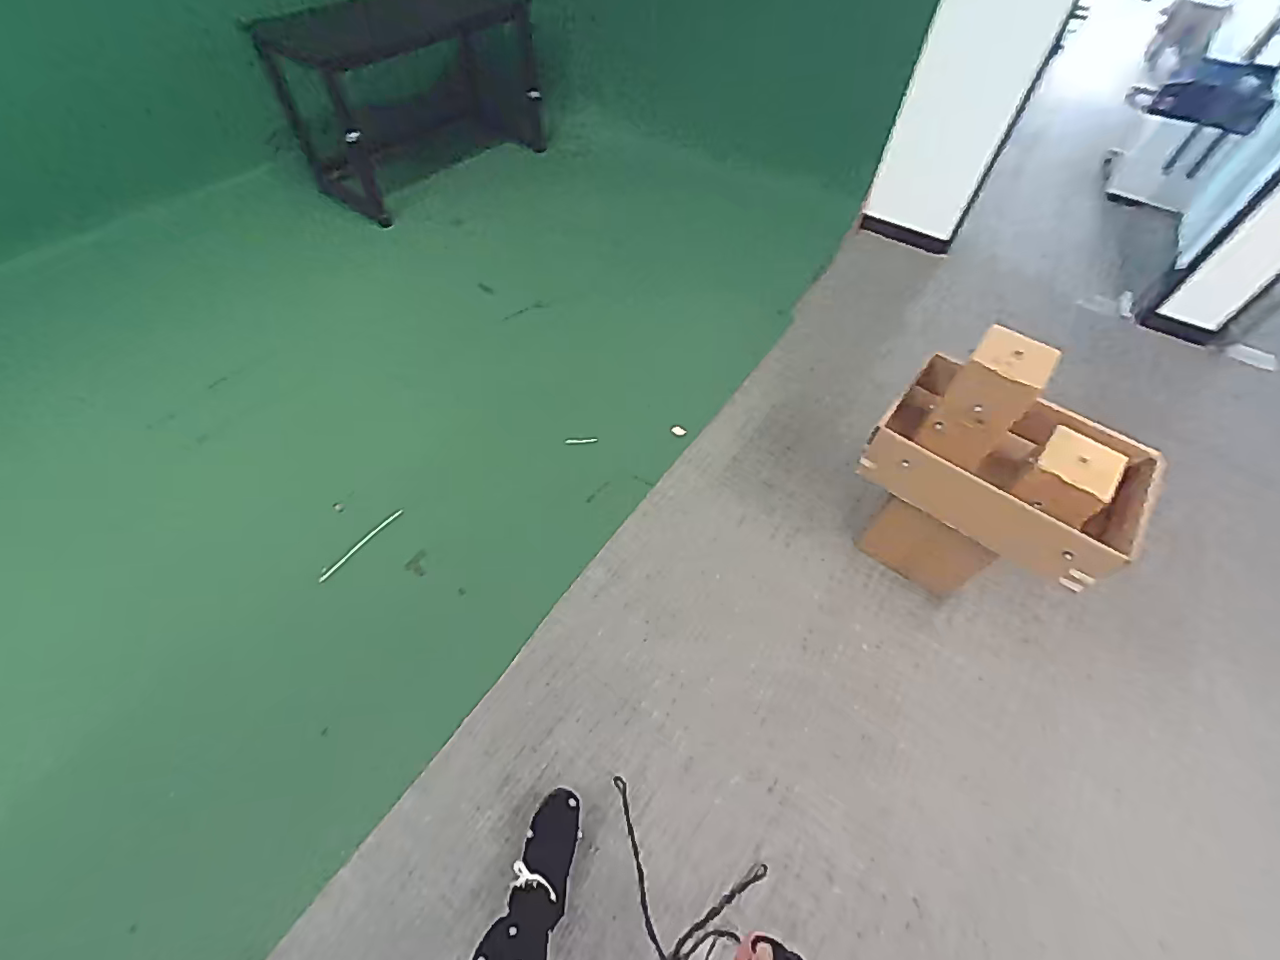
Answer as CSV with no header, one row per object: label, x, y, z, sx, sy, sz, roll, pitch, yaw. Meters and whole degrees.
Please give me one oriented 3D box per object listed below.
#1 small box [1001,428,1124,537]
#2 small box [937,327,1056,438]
small box,1.064,0.009,1.374,0.168,0.176,0.179,35,61,21
small box,0.876,-0.240,1.342,0.168,0.176,0.179,33,60,21
